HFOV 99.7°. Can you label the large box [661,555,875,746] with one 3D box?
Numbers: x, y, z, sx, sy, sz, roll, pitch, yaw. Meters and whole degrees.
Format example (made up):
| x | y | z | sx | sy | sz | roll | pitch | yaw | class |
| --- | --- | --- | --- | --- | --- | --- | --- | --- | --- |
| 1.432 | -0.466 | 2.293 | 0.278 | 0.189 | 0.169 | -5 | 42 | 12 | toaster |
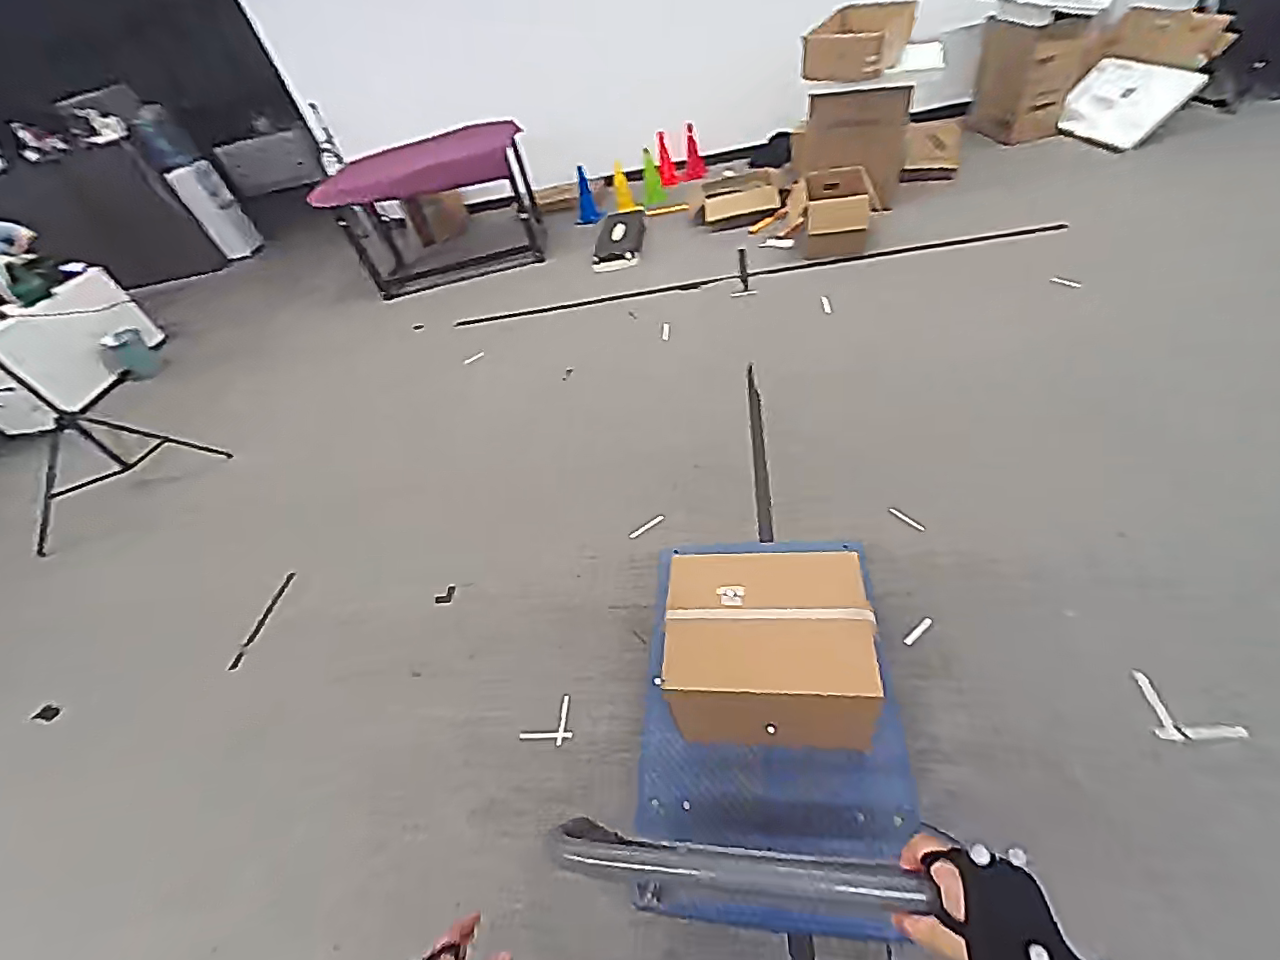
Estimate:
| x | y | z | sx | sy | sz | roll | pitch | yaw | class |
| --- | --- | --- | --- | --- | --- | --- | --- | --- | --- |
| 0.282 | 0.393 | 1.227 | 0.408 | 0.320 | 0.320 | -4 | 46 | 13 | large box |
